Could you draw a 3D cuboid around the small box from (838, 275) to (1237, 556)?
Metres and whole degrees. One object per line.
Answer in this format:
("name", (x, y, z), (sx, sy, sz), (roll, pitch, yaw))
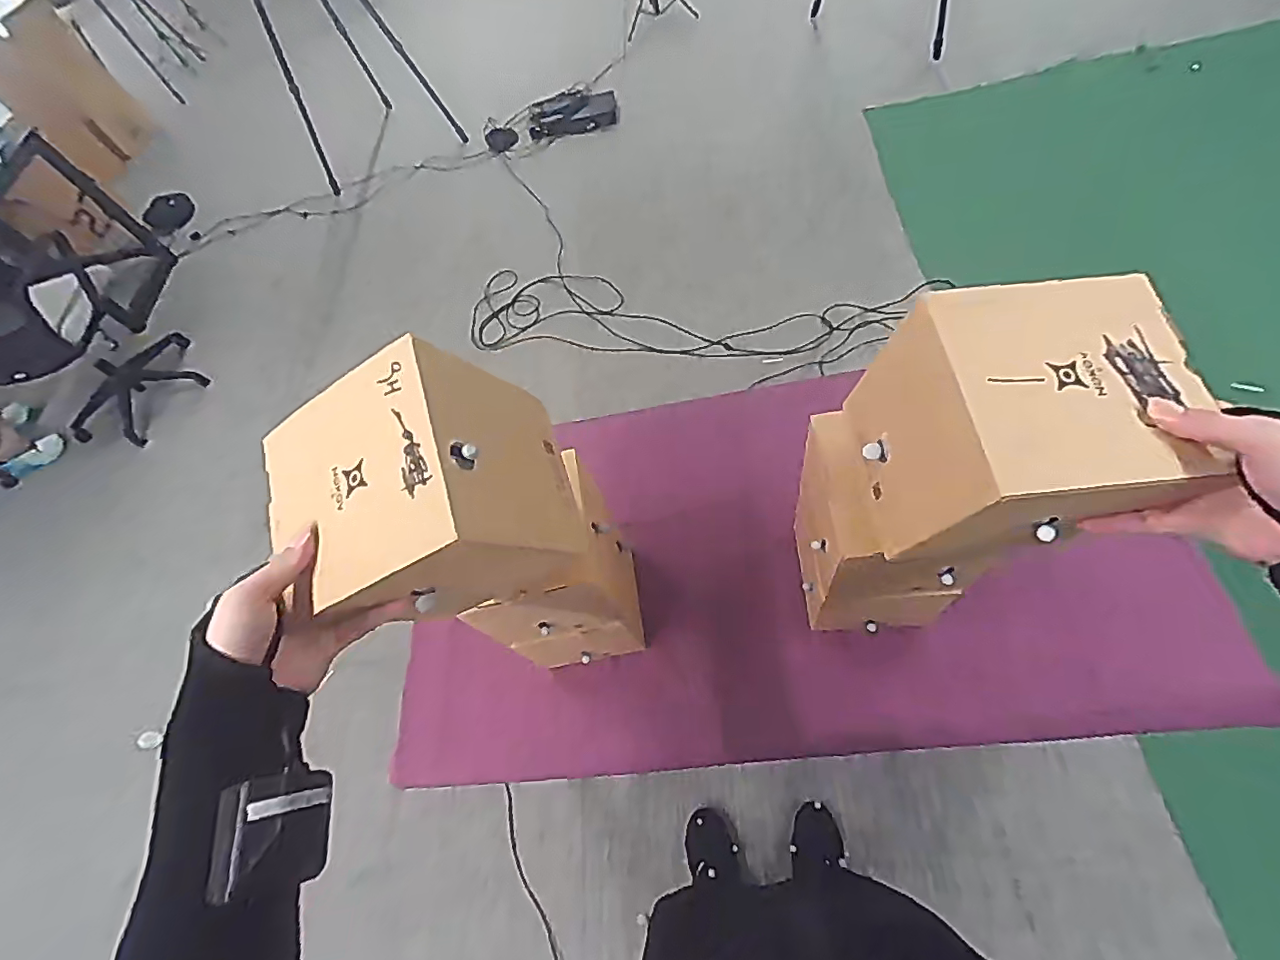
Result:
("small box", (0.291, -0.041, 0.447), (0.179, 0.176, 0.168), (-5, 67, -2))

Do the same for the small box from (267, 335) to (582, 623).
("small box", (-0.180, 0.015, 0.465), (0.179, 0.176, 0.168), (-27, 69, 20))

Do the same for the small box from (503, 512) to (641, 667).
("small box", (-0.102, 0.174, 0.837), (0.168, 0.176, 0.179), (-13, 60, 6))

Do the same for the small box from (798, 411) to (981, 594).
("small box", (0.285, 0.029, 0.635), (0.168, 0.176, 0.179), (-7, 61, 9))

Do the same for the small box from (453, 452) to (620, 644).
("small box", (-0.132, 0.094, 0.699), (0.168, 0.176, 0.179), (-15, 60, 5))
